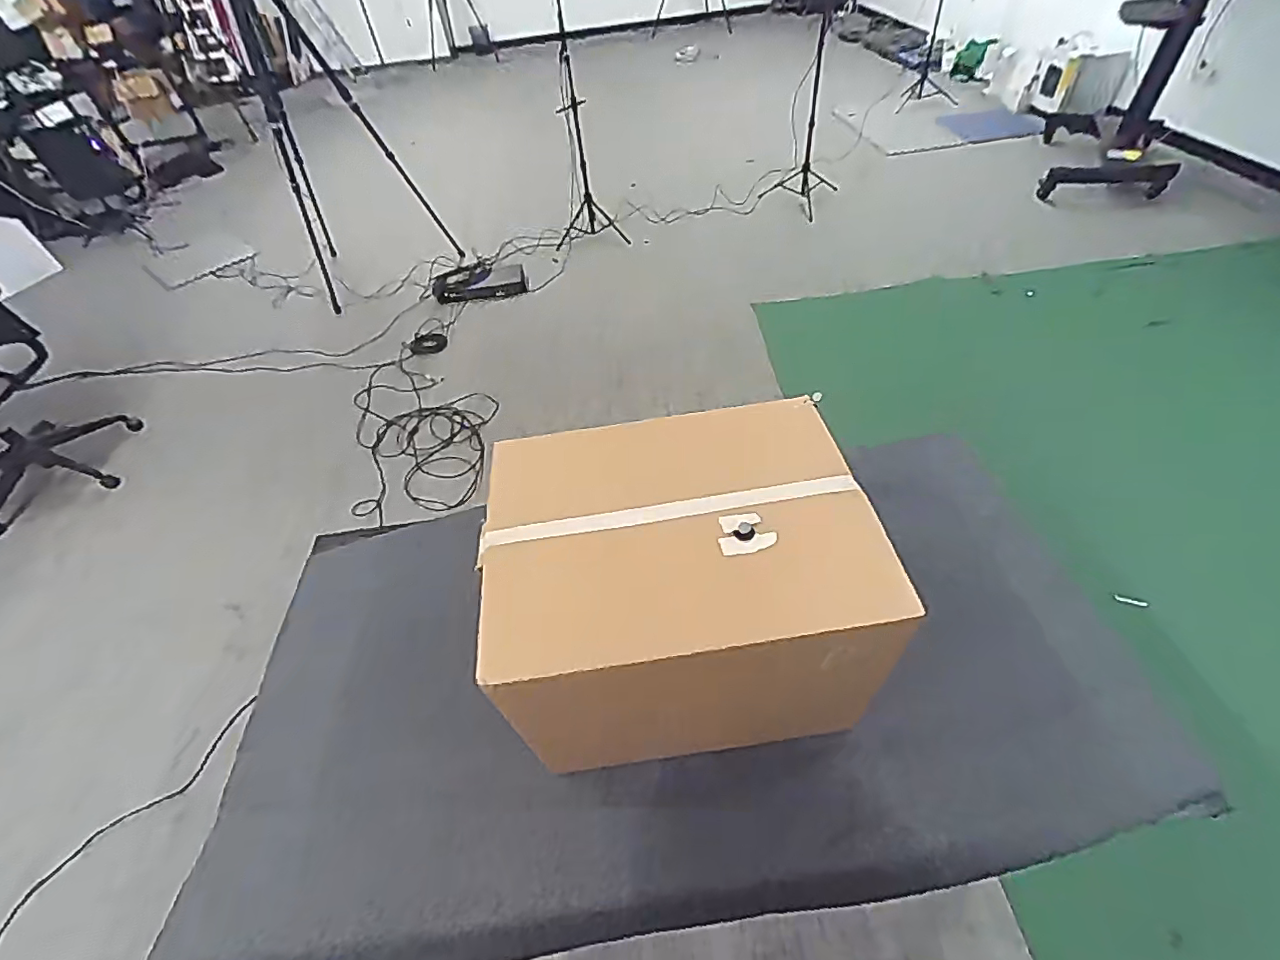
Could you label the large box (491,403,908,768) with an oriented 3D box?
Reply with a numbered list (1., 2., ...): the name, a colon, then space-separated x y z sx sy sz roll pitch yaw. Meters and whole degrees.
1. large box: 0.048 0.141 0.705 0.408 0.320 0.320 -8 49 -2
